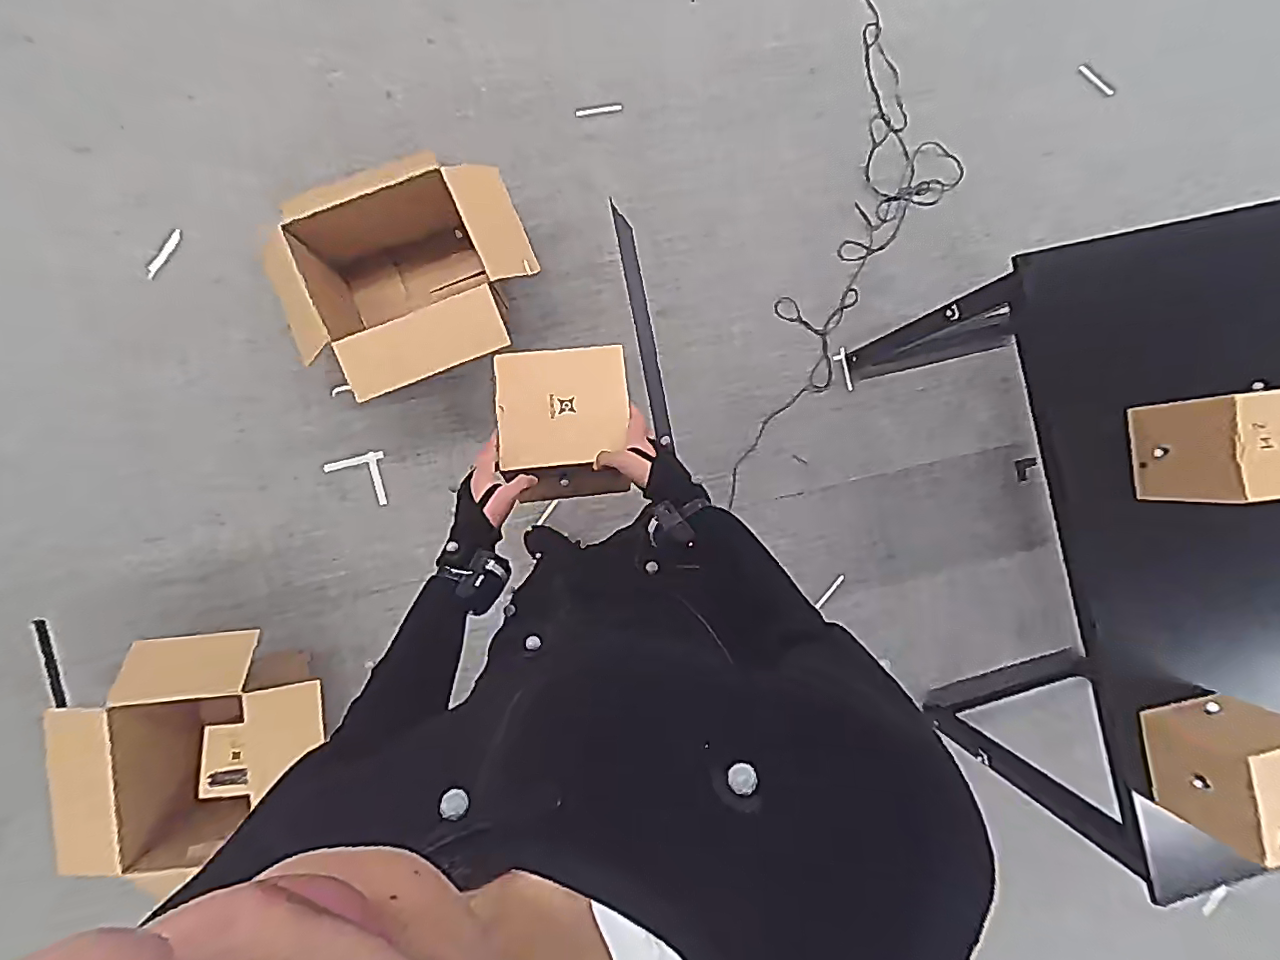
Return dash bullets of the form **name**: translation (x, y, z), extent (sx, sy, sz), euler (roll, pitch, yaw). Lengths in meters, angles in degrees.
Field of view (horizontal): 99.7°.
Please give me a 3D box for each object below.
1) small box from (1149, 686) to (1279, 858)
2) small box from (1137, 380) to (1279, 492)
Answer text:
- **small box**: translation (1.008, 0.469, 0.894), extent (0.168, 0.176, 0.179), euler (-11, 90, -4)
- **small box**: translation (0.981, -0.074, 0.888), extent (0.179, 0.176, 0.168), euler (-7, 91, -3)
